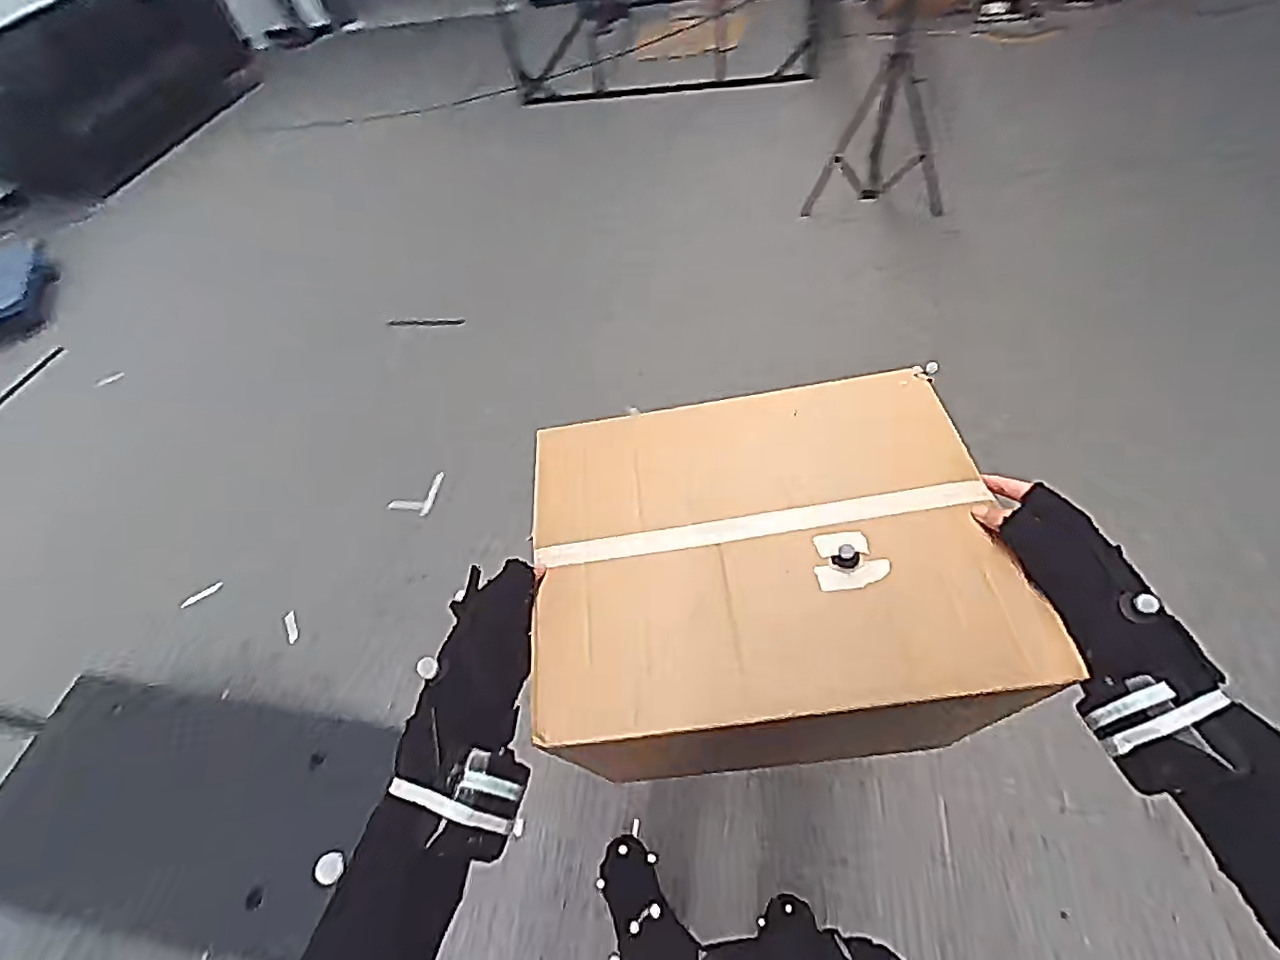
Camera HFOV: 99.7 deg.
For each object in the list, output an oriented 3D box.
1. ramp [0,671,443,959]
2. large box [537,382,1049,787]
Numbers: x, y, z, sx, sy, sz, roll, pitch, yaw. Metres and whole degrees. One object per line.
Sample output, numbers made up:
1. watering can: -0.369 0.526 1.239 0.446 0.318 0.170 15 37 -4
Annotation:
1. ramp: -1.042 0.796 1.327 0.991 0.206 0.509 2 54 10
2. large box: 0.118 0.136 0.620 0.408 0.320 0.320 -10 55 3
